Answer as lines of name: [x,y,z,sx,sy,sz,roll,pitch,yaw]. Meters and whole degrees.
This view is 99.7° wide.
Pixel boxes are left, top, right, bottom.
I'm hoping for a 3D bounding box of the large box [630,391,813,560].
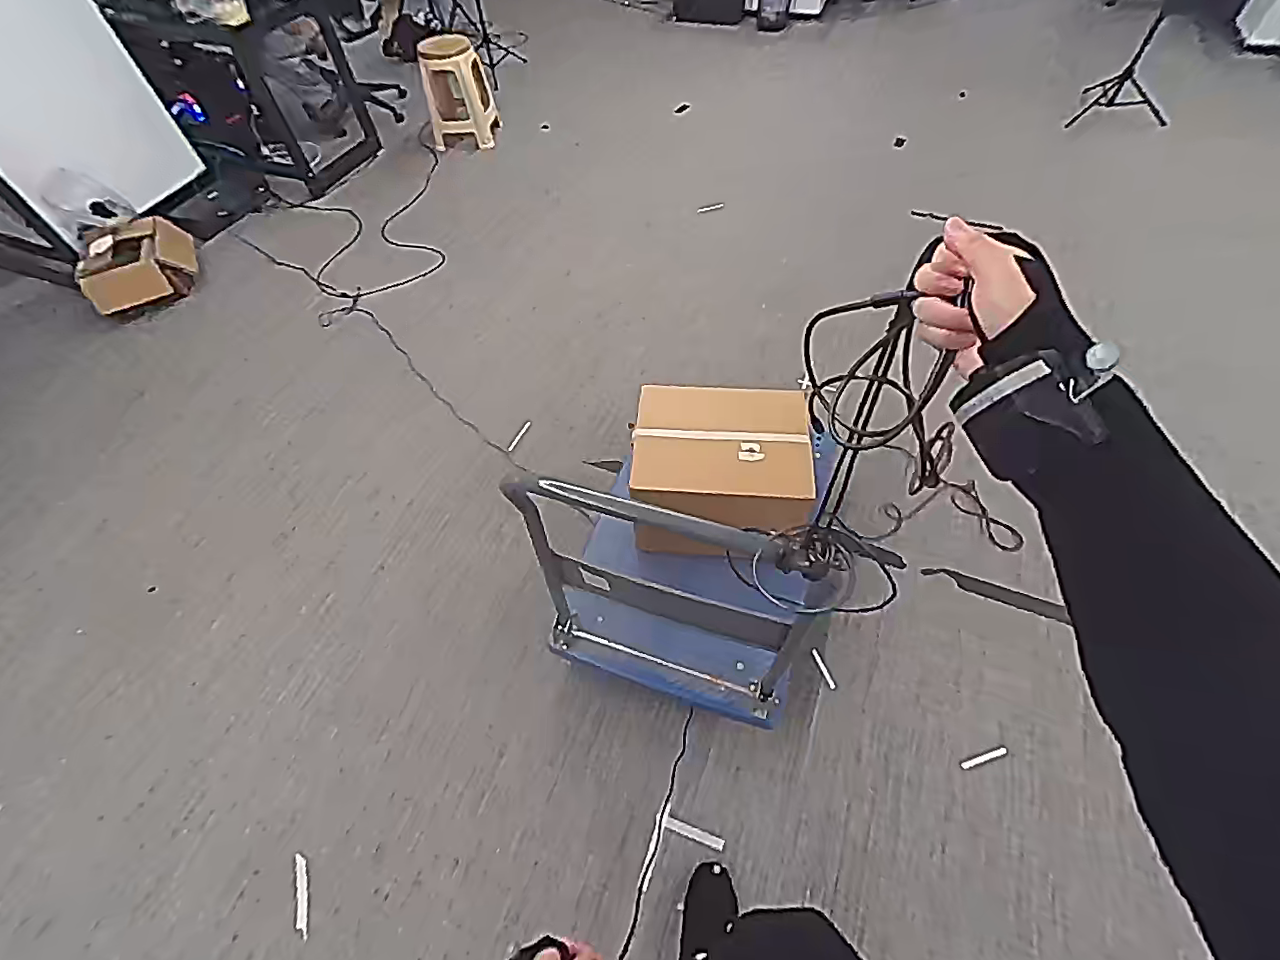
large box: [0.189,-0.006,1.372,0.408,0.320,0.320,3,57,5]
